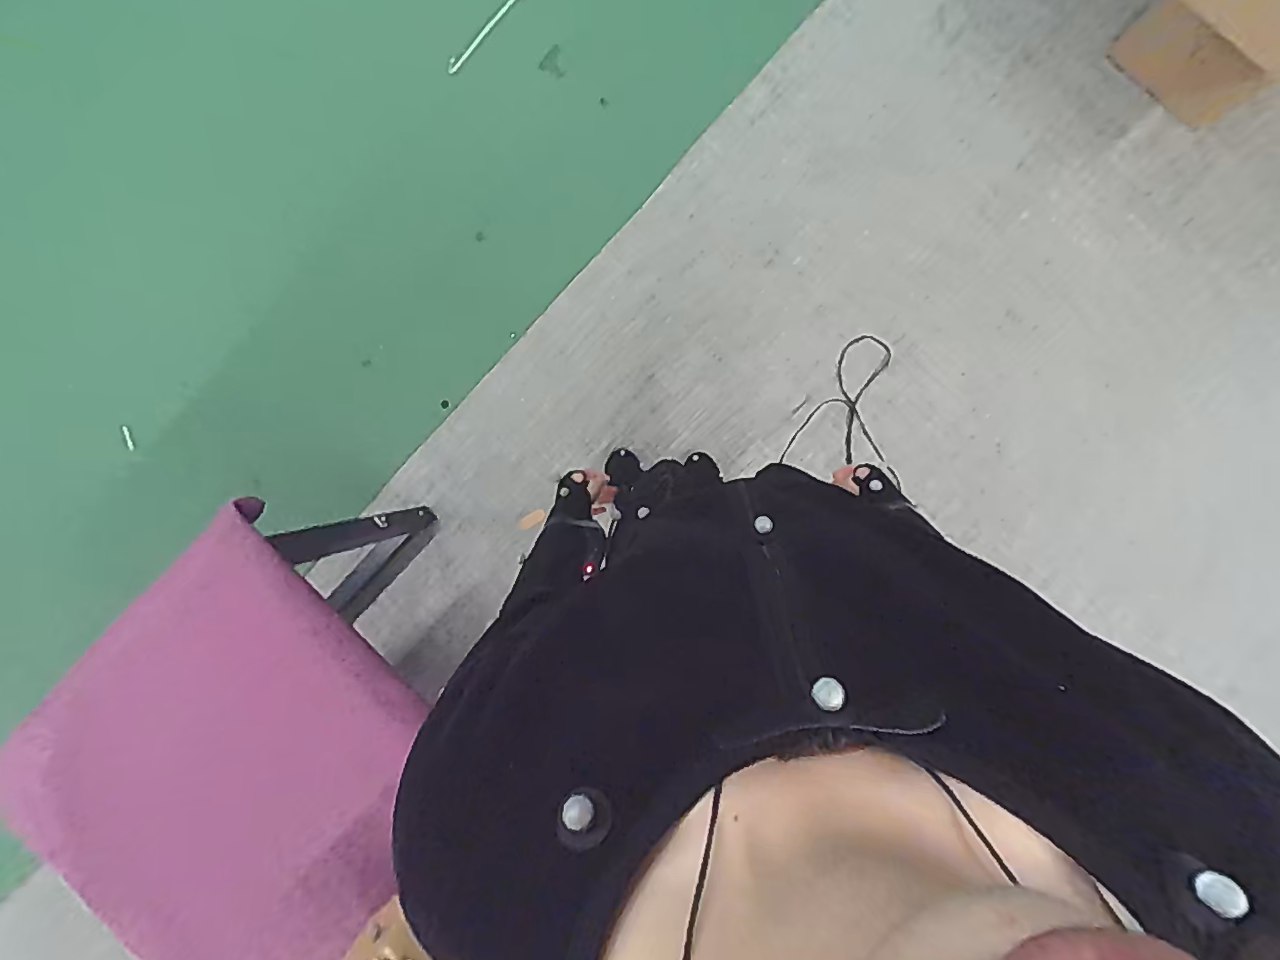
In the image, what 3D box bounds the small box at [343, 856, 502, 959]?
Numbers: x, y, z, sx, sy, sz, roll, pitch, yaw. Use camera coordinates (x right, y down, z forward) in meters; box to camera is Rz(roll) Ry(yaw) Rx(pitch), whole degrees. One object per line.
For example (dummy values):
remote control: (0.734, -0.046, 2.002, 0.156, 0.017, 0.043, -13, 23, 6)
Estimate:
small box: (-0.318, 0.694, 0.766, 0.179, 0.176, 0.168, -44, 88, 4)
